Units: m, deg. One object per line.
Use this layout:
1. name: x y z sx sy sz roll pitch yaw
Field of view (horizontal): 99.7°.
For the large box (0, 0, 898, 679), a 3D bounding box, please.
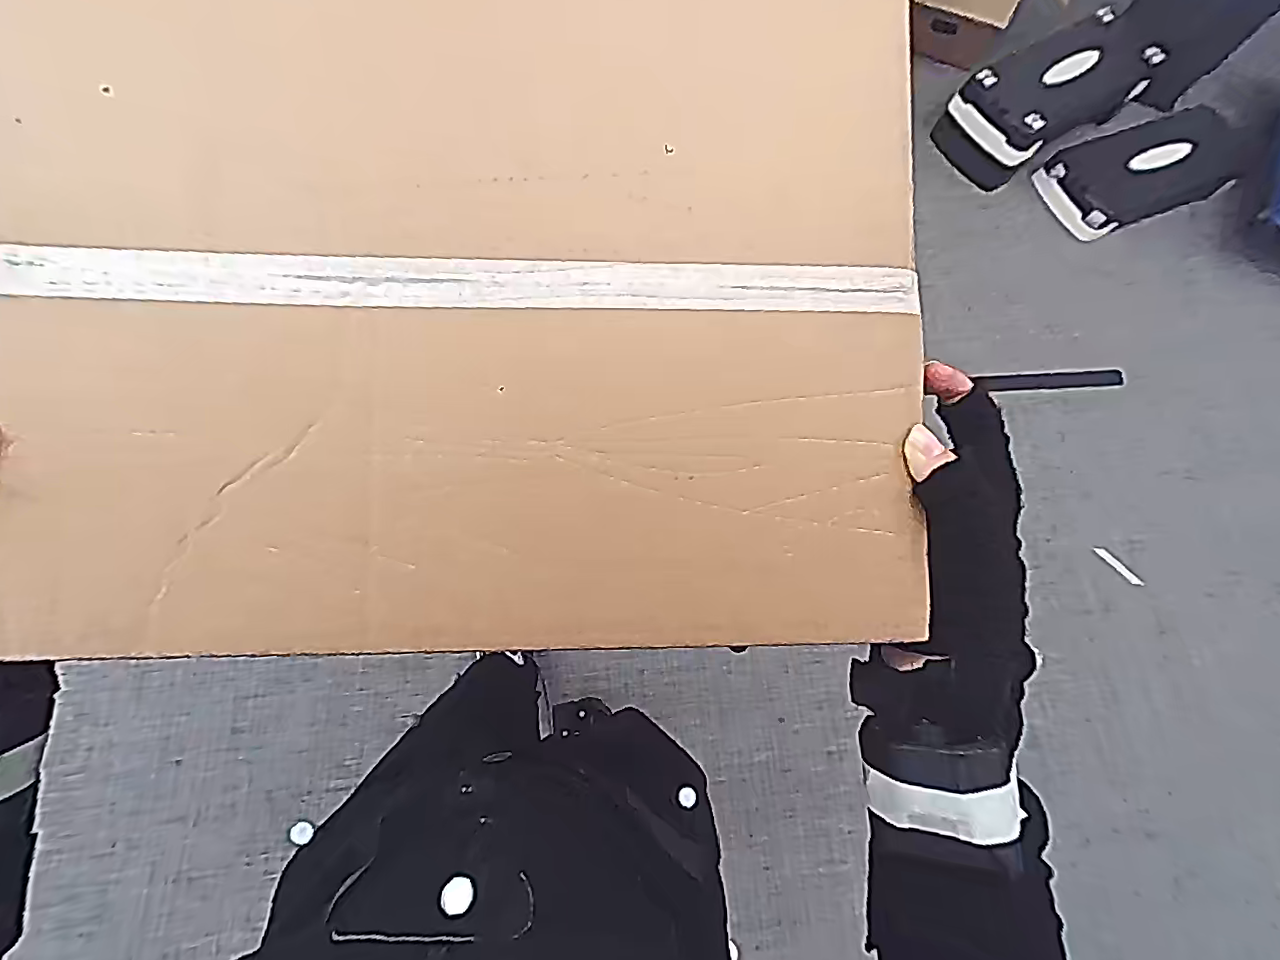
1. large box: -0.088 -0.065 0.392 0.408 0.320 0.320 0 86 -4
